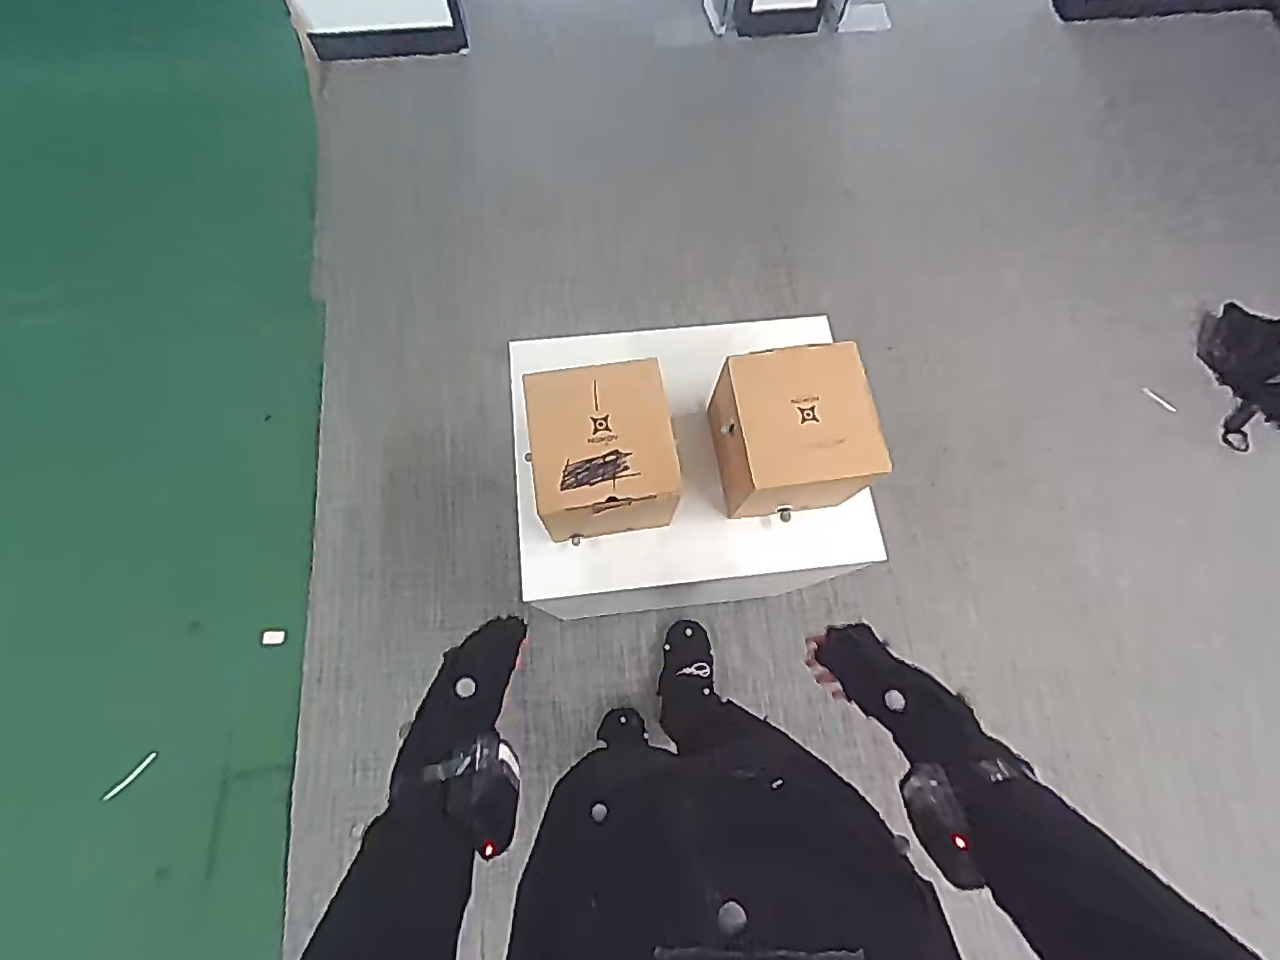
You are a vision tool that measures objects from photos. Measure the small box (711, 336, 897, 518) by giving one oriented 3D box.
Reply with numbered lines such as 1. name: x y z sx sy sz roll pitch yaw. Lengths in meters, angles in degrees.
1. small box: 0.196 -0.060 0.705 0.168 0.176 0.179 -8 75 -3

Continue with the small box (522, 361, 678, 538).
1. small box: -0.050 -0.028 0.703 0.168 0.176 0.179 -9 72 -5
